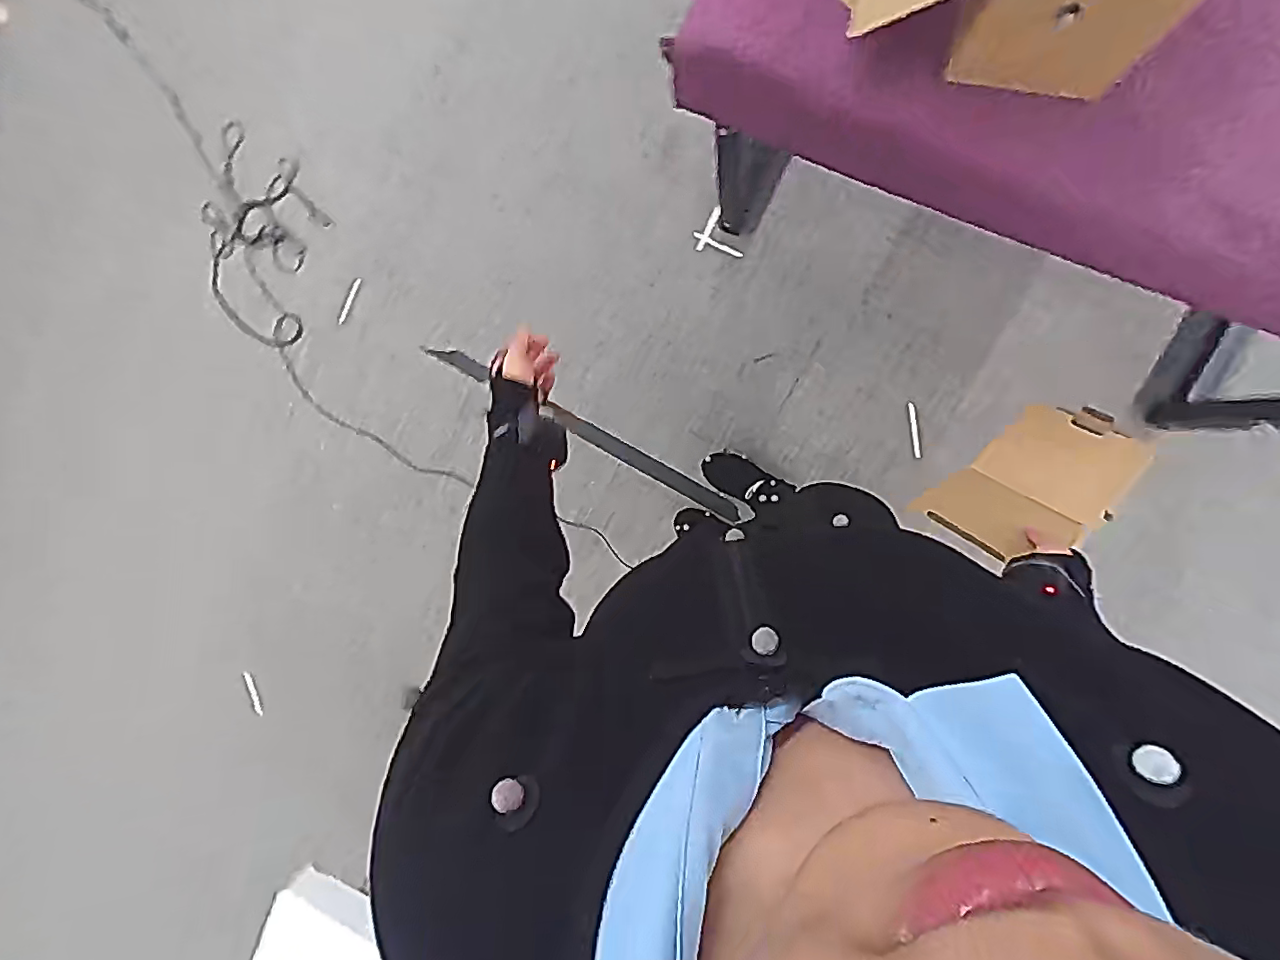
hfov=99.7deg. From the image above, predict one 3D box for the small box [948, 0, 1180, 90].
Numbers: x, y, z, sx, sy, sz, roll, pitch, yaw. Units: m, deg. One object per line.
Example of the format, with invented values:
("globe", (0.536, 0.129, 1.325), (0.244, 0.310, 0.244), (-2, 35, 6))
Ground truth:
("small box", (0.451, -0.540, 0.553), (0.179, 0.176, 0.168), (14, 97, 7))
